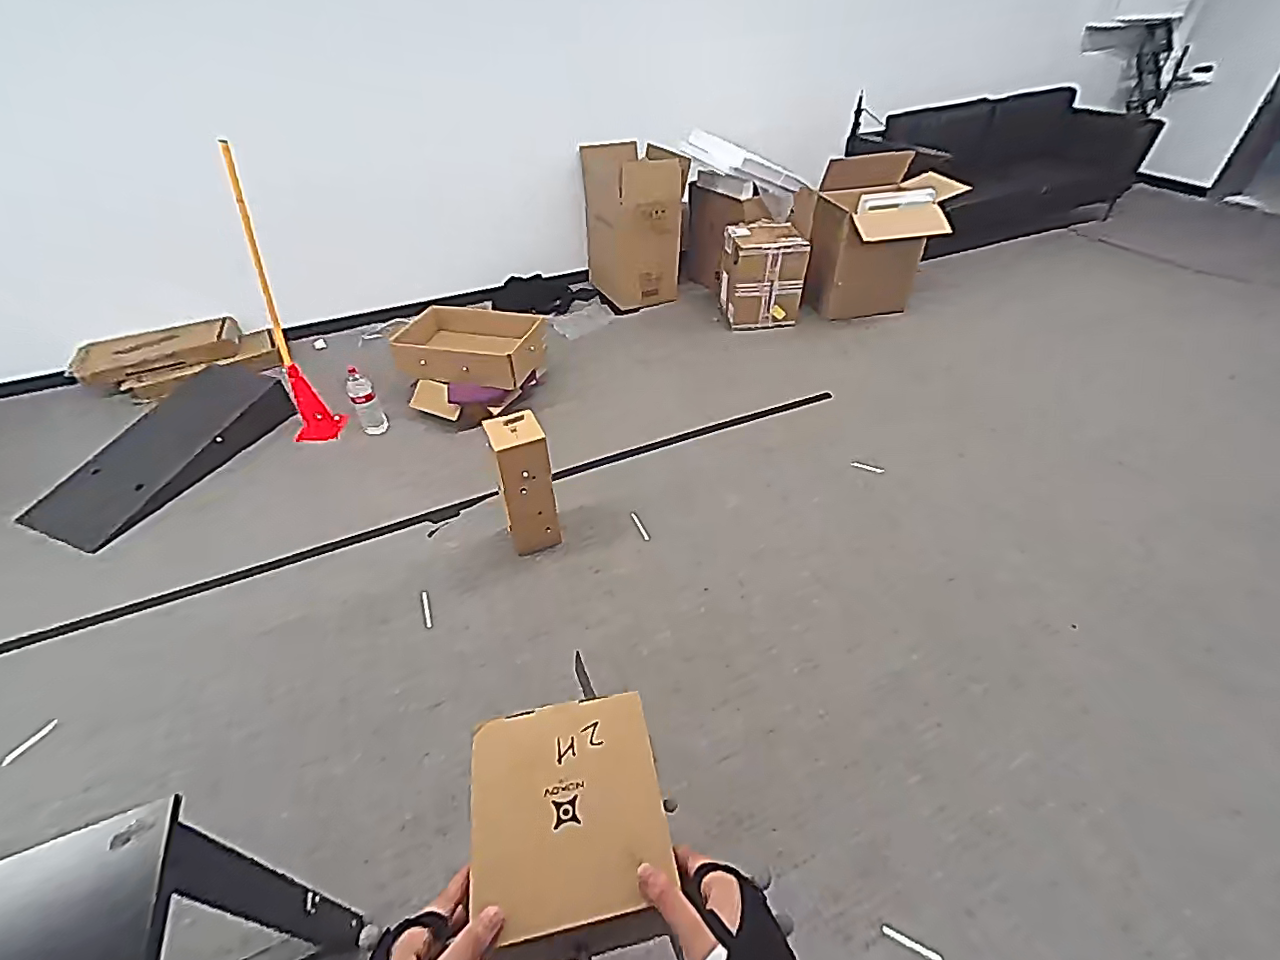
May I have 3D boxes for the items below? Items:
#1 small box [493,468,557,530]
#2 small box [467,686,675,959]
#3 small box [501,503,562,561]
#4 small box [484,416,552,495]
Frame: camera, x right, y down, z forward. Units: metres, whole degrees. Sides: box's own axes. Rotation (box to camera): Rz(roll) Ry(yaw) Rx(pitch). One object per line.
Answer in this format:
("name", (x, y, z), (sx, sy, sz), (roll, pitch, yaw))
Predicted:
("small box", (-0.400, 0.046, 1.892), (0.168, 0.176, 0.179), (-19, 43, -18))
("small box", (-0.063, 0.336, 0.526), (0.168, 0.176, 0.179), (-10, 42, -8))
("small box", (-0.397, 0.169, 2.000), (0.179, 0.176, 0.168), (-18, 43, -16))
("small box", (-0.401, -0.080, 1.785), (0.168, 0.176, 0.179), (-19, 44, -18))
